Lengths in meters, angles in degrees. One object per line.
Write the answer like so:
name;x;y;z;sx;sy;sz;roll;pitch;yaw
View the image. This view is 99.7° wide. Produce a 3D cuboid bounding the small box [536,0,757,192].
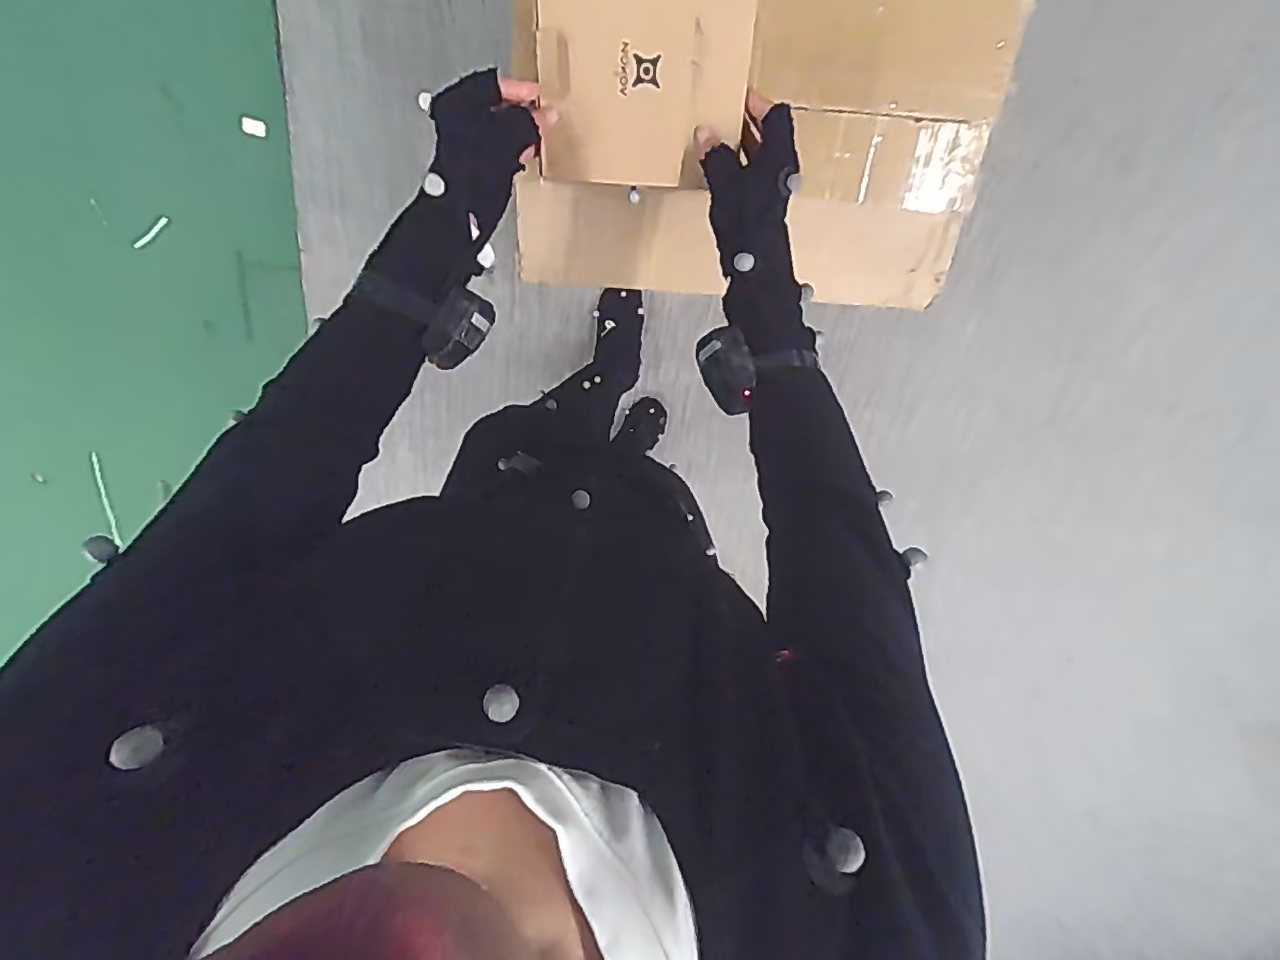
small box;0.005;-0.373;0.515;0.179;0.176;0.168;3;117;0
